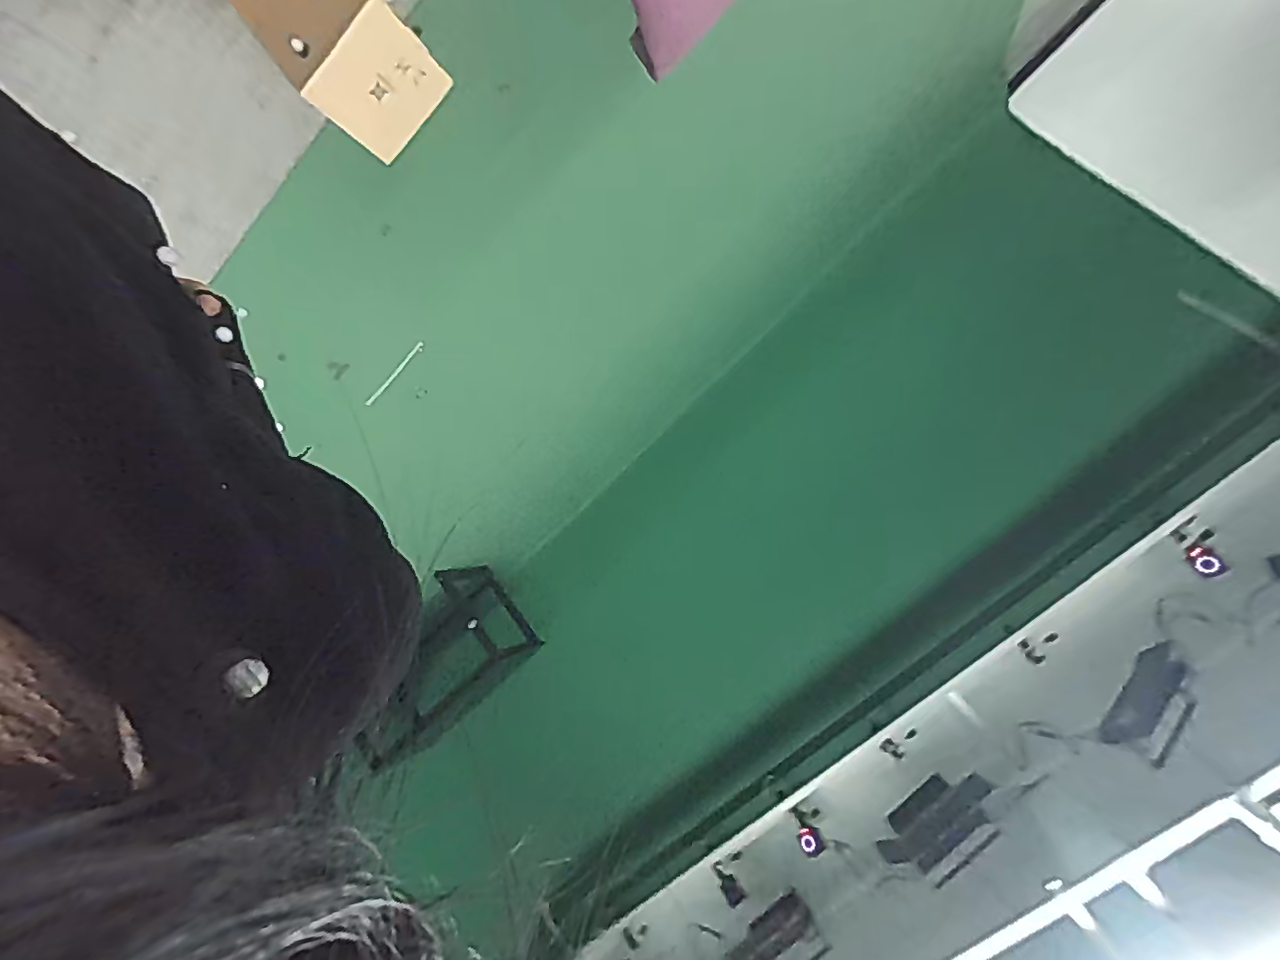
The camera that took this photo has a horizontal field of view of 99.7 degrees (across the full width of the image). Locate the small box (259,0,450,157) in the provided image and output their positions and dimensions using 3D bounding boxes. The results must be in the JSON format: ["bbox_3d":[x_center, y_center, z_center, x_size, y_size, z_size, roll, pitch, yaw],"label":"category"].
[{"bbox_3d":[-0.439,-0.657,0.828,0.179,0.176,0.168,-43,165,12],"label":"small box"}]
